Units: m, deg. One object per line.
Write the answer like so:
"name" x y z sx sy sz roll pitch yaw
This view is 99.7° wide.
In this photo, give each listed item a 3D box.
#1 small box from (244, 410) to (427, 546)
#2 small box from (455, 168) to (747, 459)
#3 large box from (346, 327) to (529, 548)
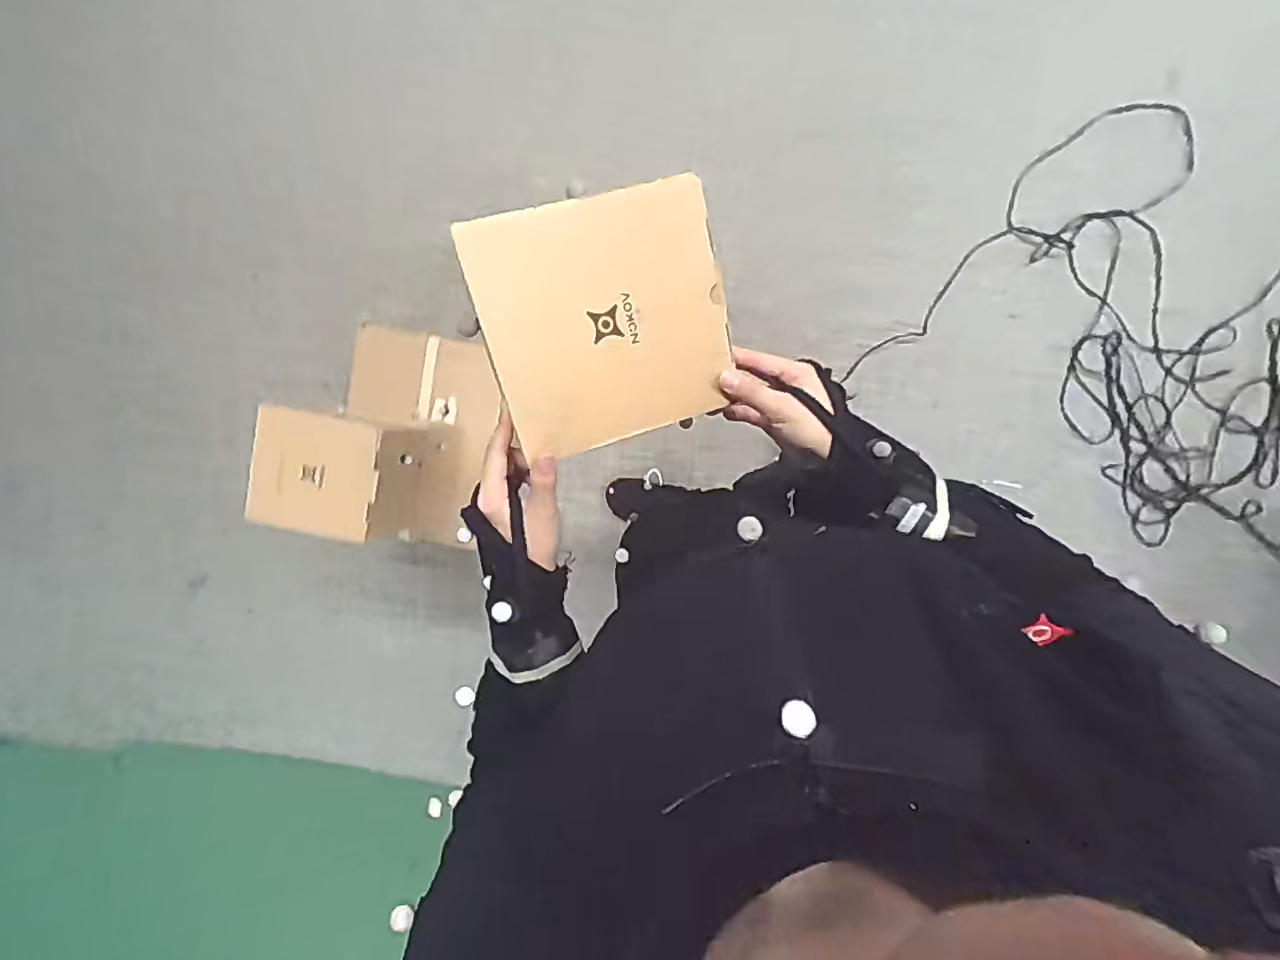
"small box" -0.449 -0.008 0.823 0.179 0.176 0.168 10 94 3
"small box" -0.039 -0.131 0.449 0.179 0.176 0.168 -19 109 -13
"large box" -0.434 -0.092 1.224 0.320 0.320 0.408 11 95 1
